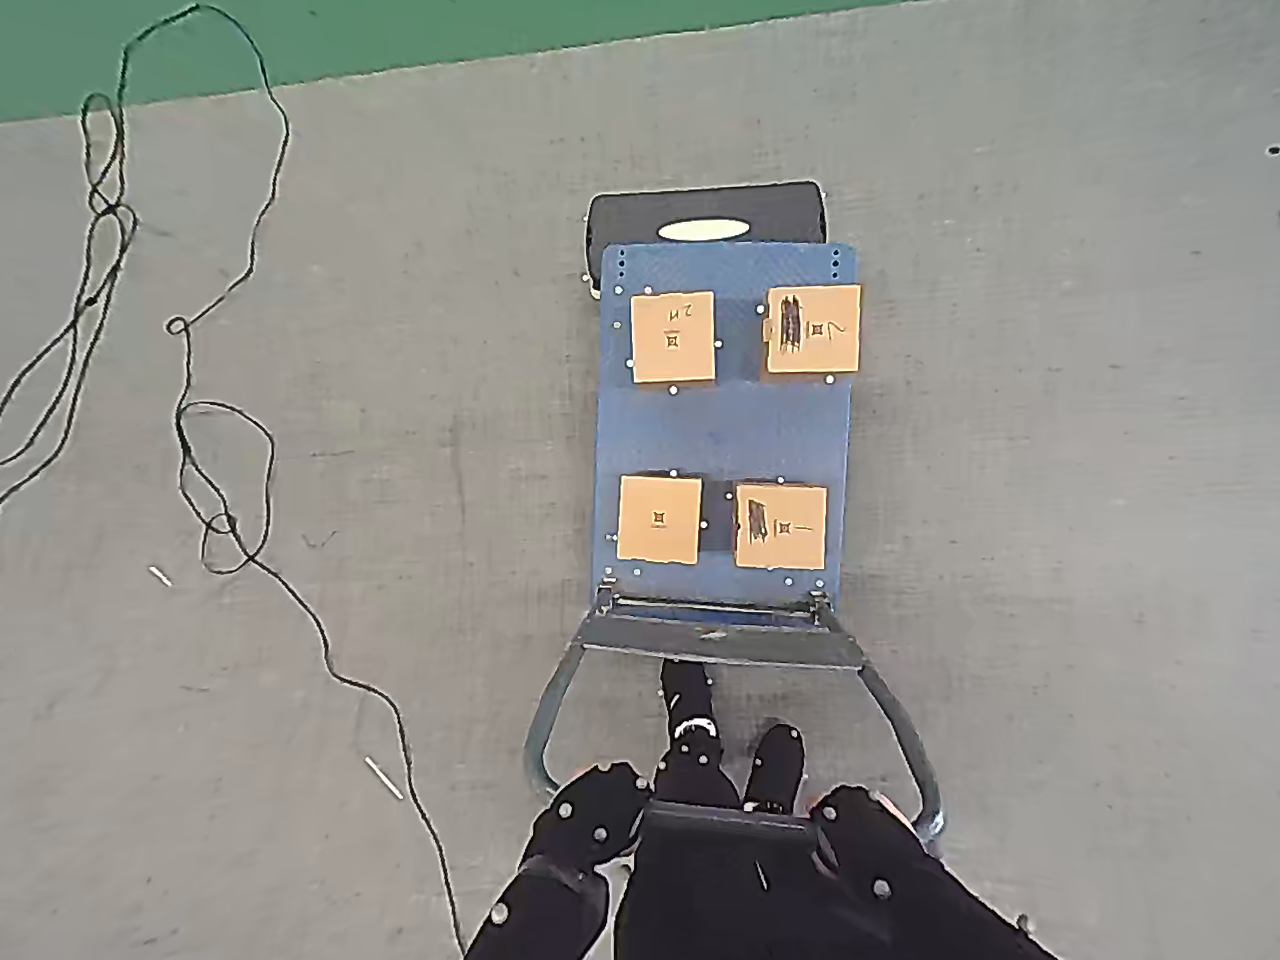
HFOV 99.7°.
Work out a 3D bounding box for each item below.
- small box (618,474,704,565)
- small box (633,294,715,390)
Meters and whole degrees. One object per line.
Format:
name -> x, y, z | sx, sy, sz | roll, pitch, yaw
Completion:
small box -> 0.048, 0.079, 1.179 | 0.168, 0.176, 0.179 | 4, 94, 5
small box -> 0.077, -0.286, 1.158 | 0.168, 0.176, 0.179 | -1, 93, 6
